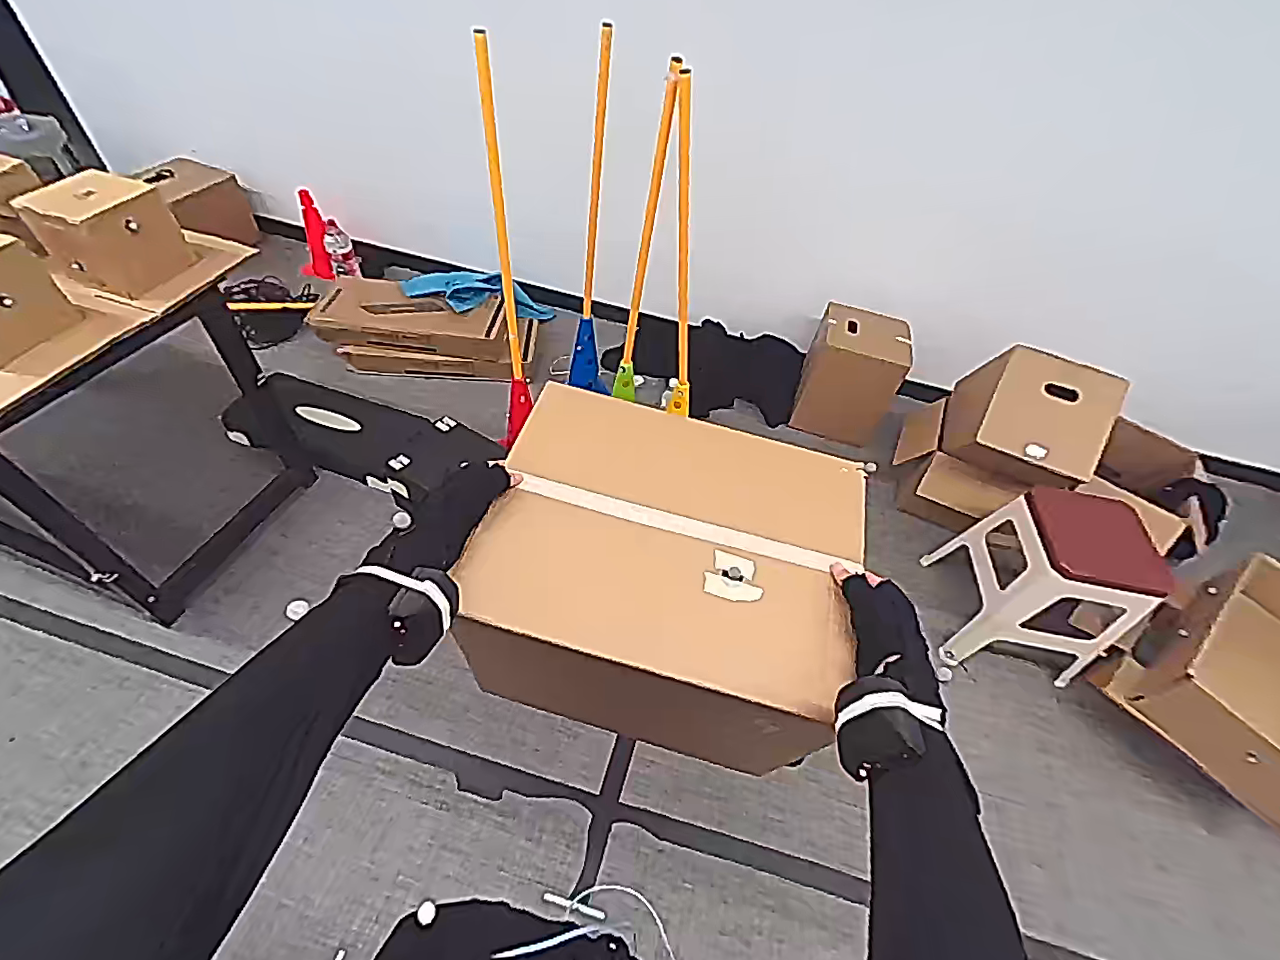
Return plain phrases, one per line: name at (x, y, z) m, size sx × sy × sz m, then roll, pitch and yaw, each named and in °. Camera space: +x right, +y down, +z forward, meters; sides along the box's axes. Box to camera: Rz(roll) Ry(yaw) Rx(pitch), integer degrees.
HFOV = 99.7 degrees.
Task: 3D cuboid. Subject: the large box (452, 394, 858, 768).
large box at (0.025, 0.142, 0.715) m, size 0.408 × 0.320 × 0.320 m, roll 16°, pitch 55°, yaw 3°
